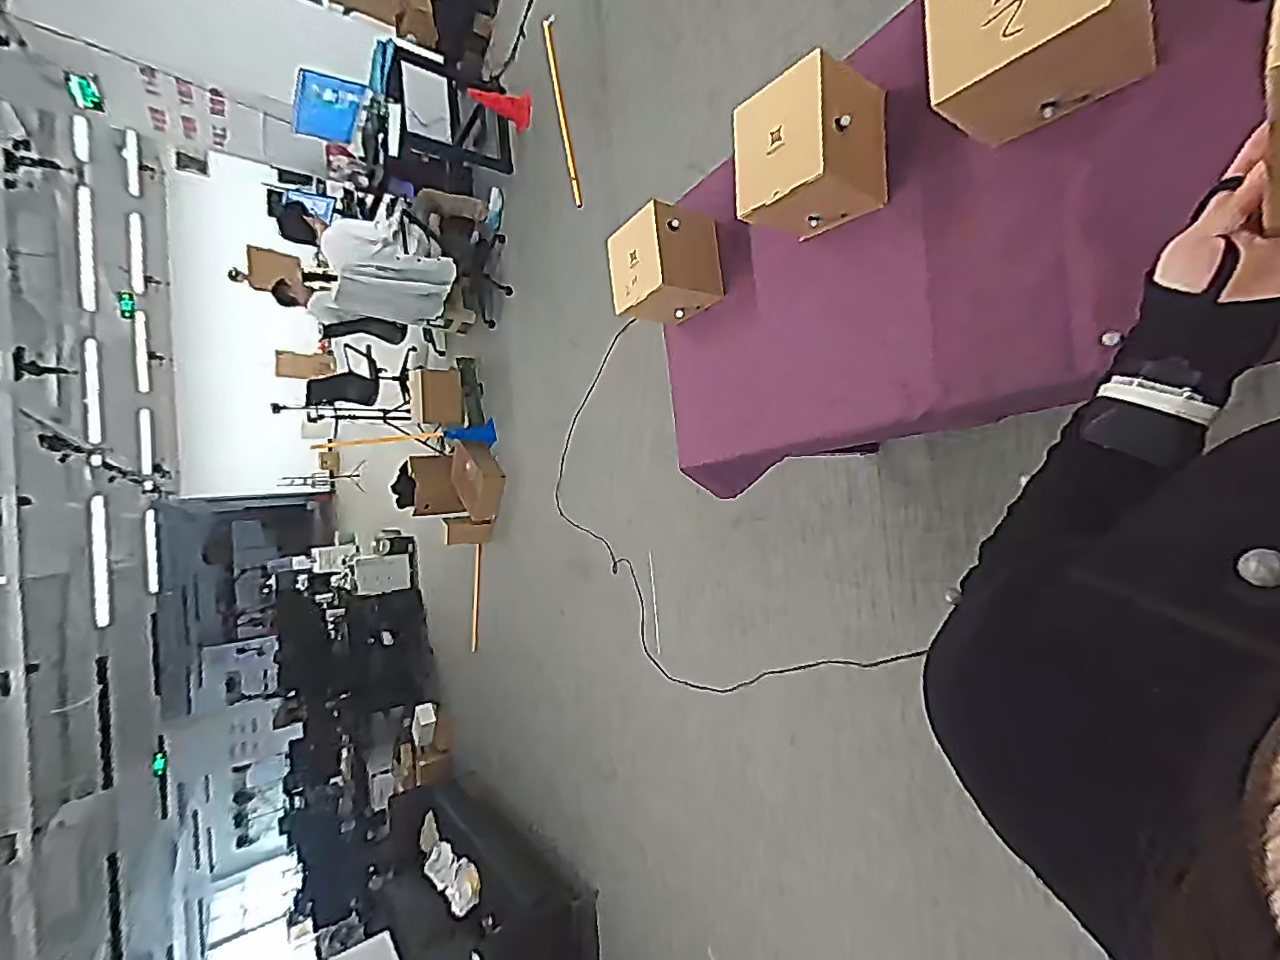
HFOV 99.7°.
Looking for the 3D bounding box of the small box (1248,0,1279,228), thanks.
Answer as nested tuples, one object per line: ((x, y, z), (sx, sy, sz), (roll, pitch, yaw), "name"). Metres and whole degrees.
((0.420, -0.253, 0.247), (0.179, 0.168, 0.176), (9, 87, 49), "small box")

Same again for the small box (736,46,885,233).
((0.272, -0.523, 0.863), (0.168, 0.176, 0.179), (1, 94, 54), "small box")

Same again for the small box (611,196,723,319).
((0.057, -0.462, 1.155), (0.168, 0.176, 0.179), (-12, 84, 54), "small box")
